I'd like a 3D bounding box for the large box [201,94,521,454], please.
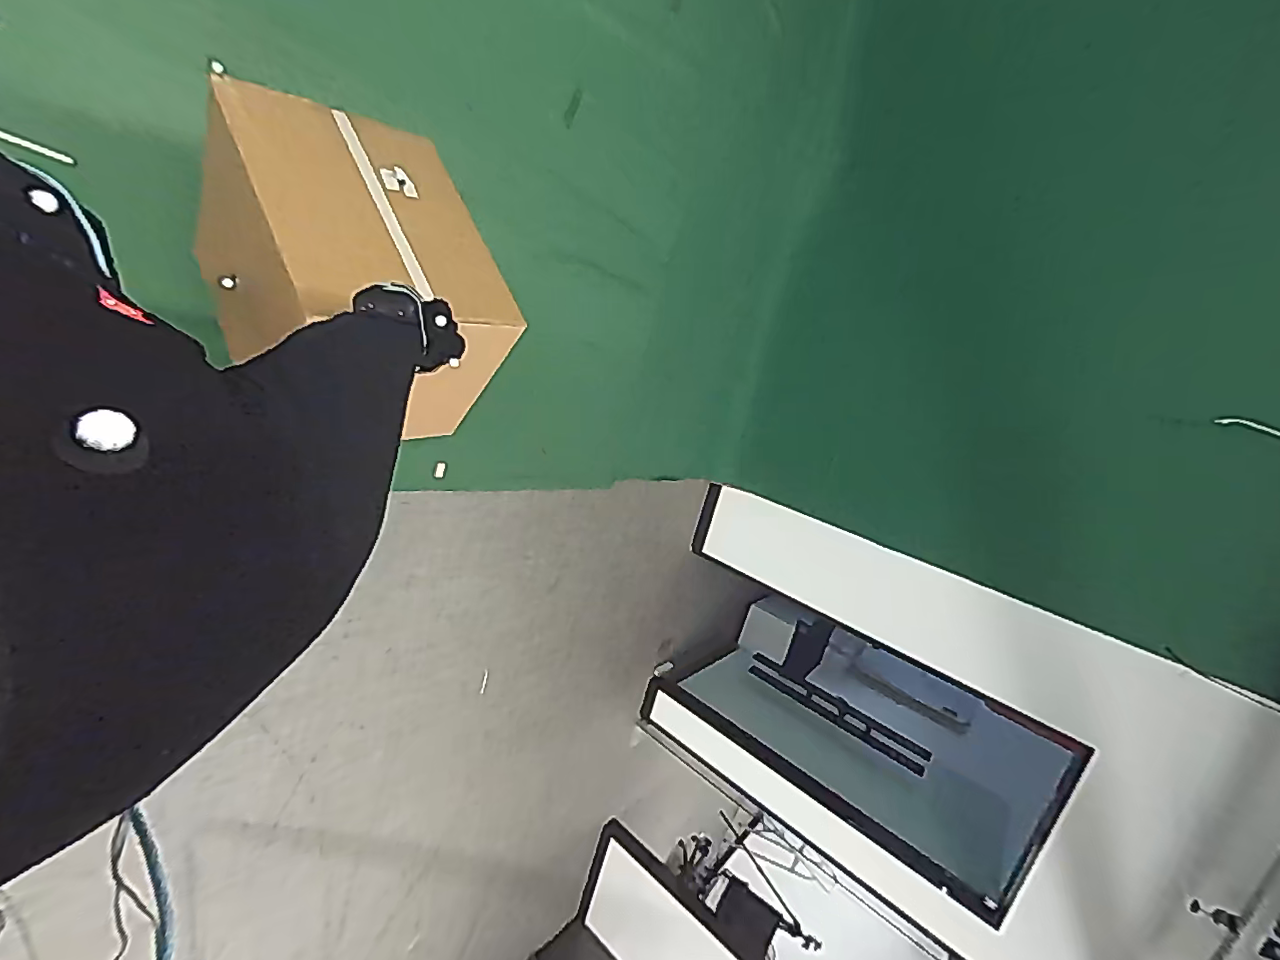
[{"bbox_3d":[-0.467,-0.304,0.886,0.320,0.408,0.320,-14,159,-48],"label":"large box"}]
